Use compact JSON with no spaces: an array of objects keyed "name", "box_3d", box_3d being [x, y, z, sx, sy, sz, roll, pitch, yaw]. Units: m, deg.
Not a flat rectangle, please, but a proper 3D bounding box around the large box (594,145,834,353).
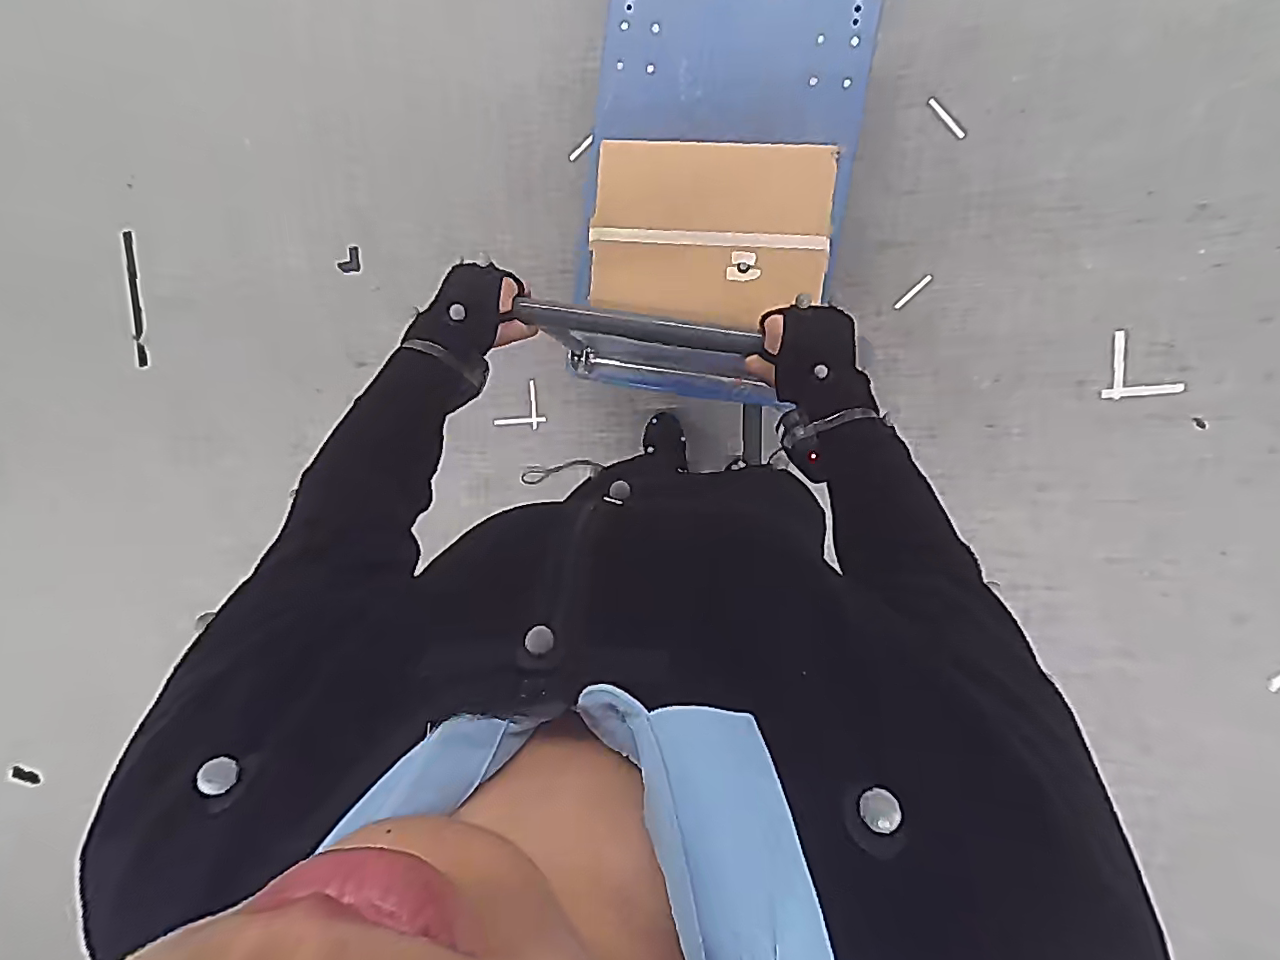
[{"name":"large box","box_3d":[0.137,-0.440,1.097,0.408,0.320,0.320,6,98,6]}]
